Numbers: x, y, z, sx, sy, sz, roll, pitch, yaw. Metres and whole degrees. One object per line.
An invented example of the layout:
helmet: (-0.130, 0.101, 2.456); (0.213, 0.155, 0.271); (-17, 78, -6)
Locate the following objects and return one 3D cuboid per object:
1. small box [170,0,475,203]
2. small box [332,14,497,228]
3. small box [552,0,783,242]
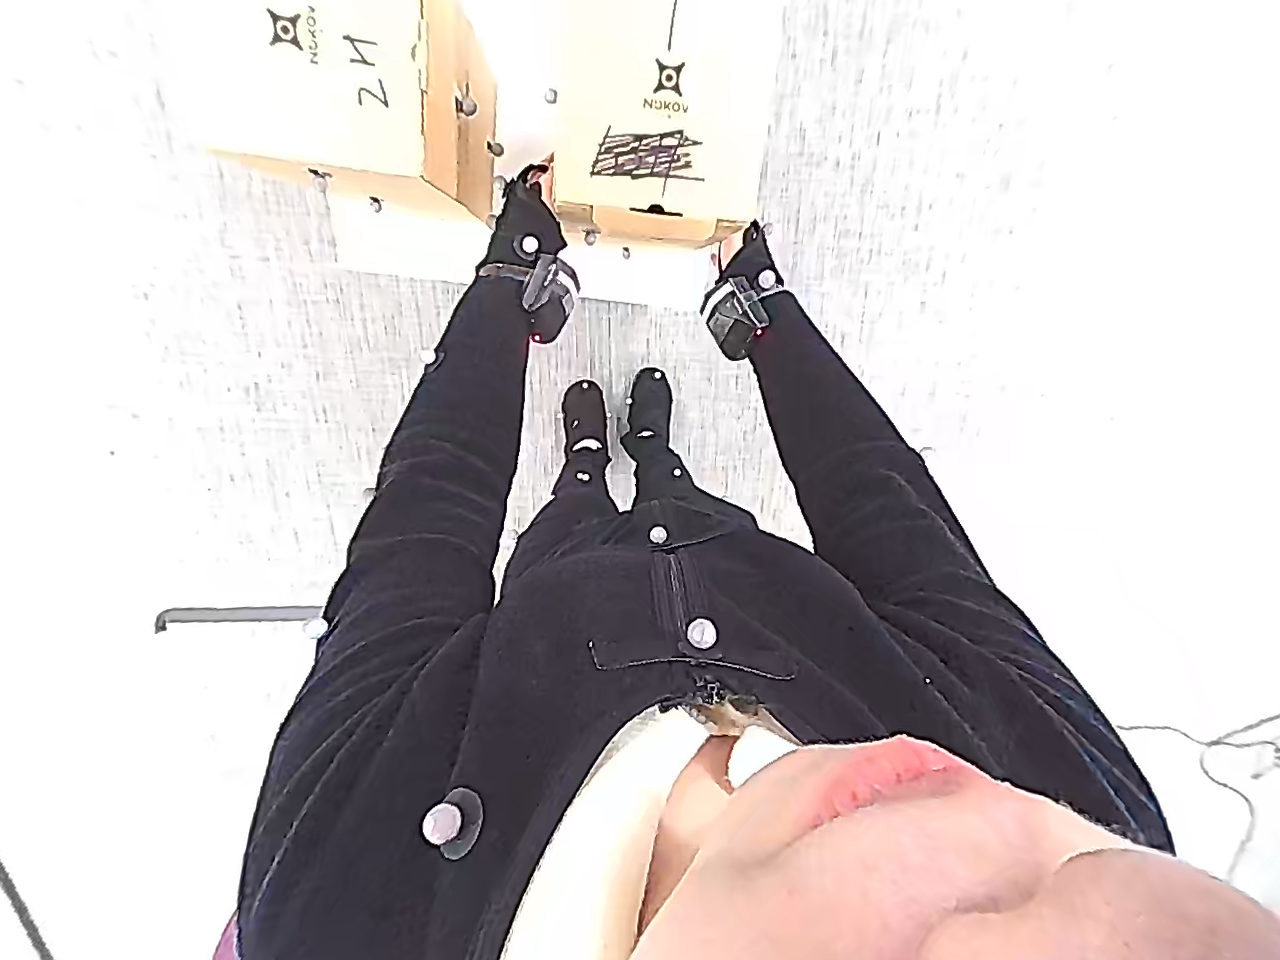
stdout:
small box: (-0.251, -0.349, 0.465); (0.179, 0.176, 0.168); (5, 109, -7)
small box: (-0.263, -0.406, 0.619); (0.168, 0.176, 0.179); (6, 107, -6)
small box: (0.012, -0.323, 0.490); (0.168, 0.176, 0.179); (4, 106, -8)
